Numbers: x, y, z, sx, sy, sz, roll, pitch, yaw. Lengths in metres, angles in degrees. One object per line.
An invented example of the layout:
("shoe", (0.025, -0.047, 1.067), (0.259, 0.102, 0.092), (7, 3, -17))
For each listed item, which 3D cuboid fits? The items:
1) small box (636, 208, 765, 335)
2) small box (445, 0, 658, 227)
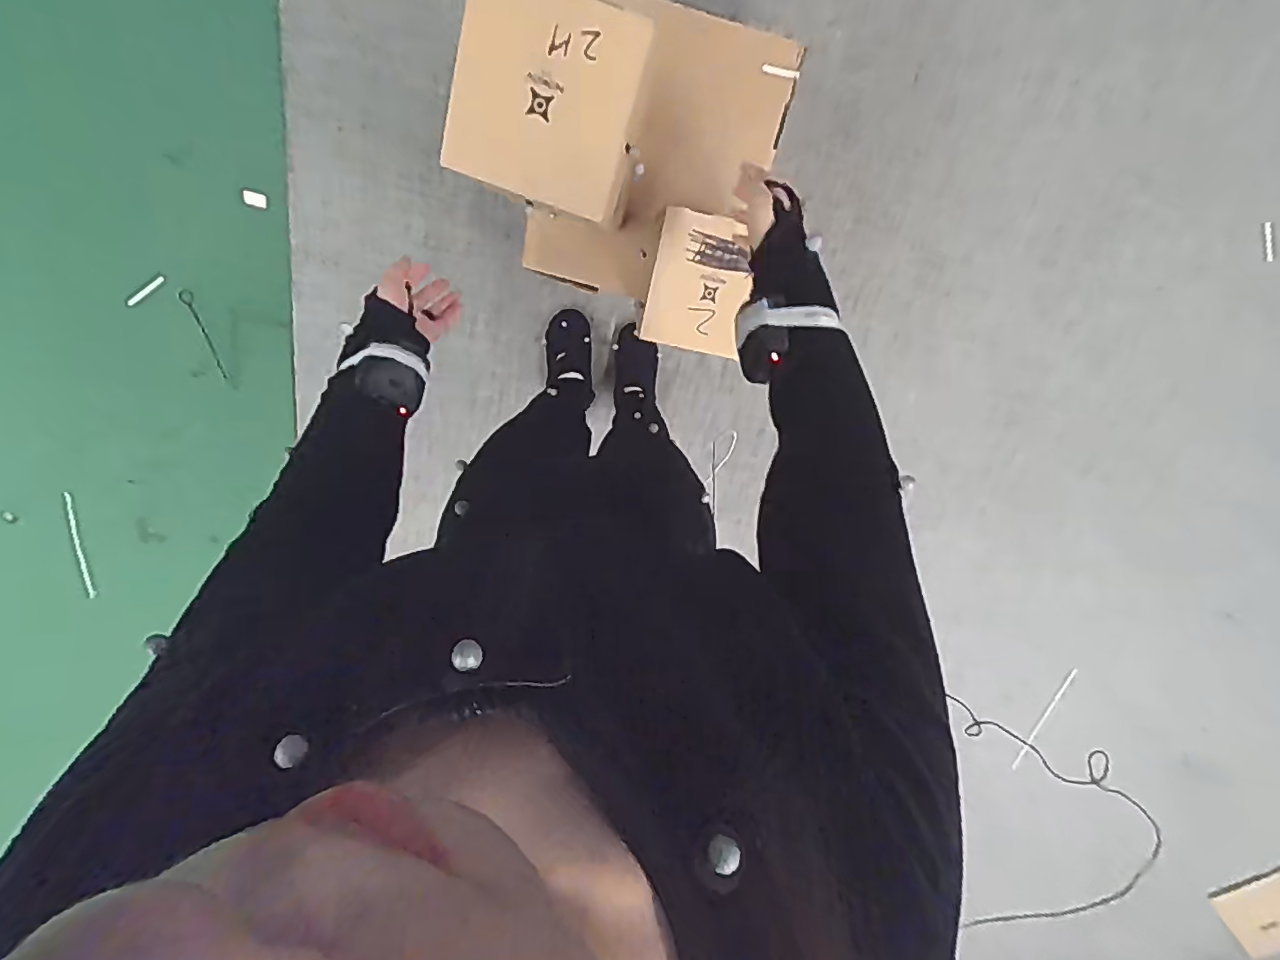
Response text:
("small box", (0.095, -0.364, 0.945), (0.179, 0.176, 0.168), (10, 112, -6))
("small box", (-0.086, -0.385, 0.574), (0.168, 0.176, 0.179), (17, 111, -8))
